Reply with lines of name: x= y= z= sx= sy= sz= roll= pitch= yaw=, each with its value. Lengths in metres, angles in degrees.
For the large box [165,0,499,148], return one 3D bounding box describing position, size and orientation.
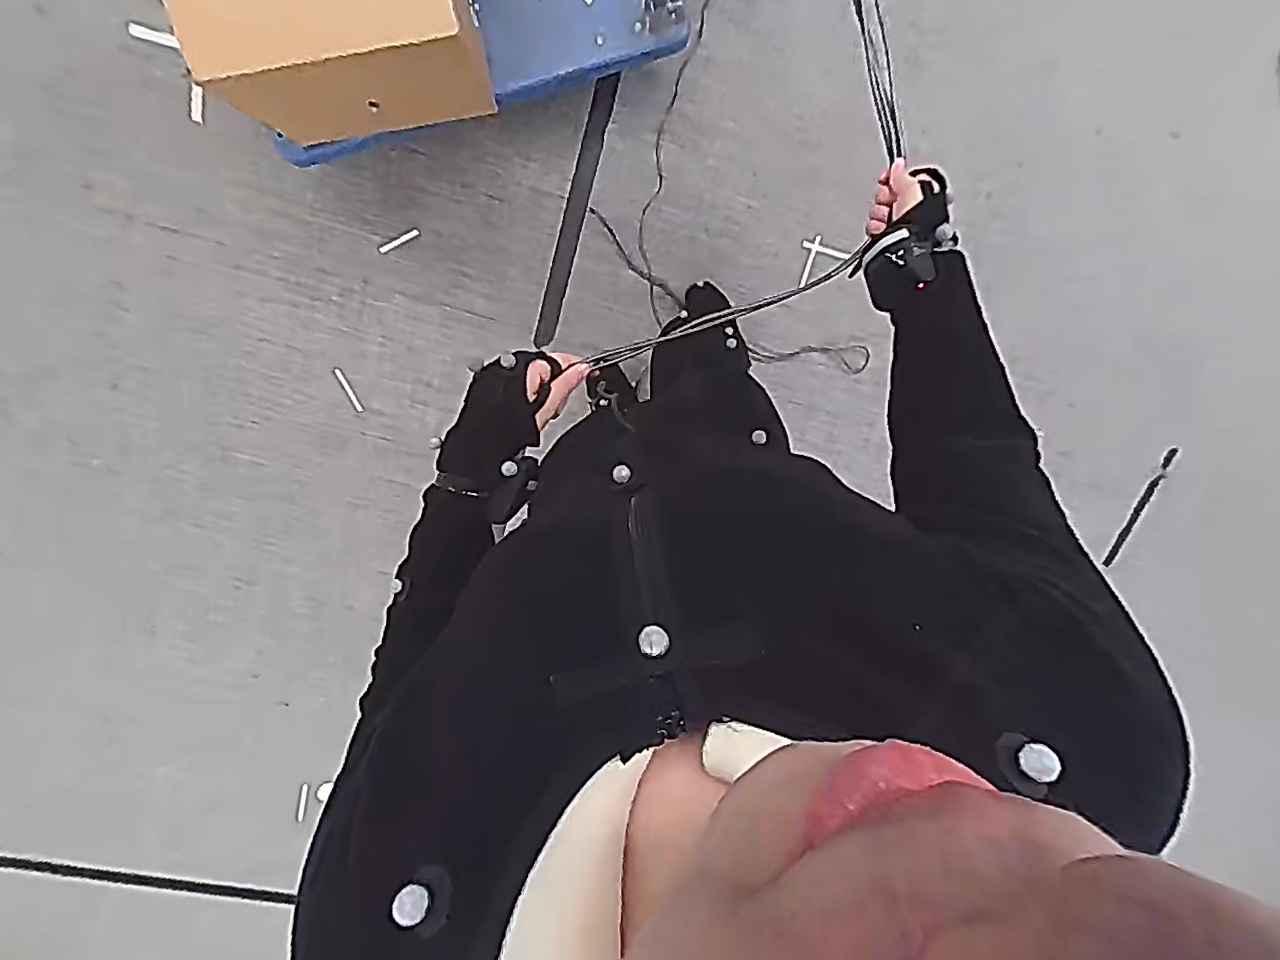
large box: x=-0.494 y=-0.801 z=0.900 sx=0.408 sy=0.320 sz=0.320 roll=-11 pitch=106 yaw=0
